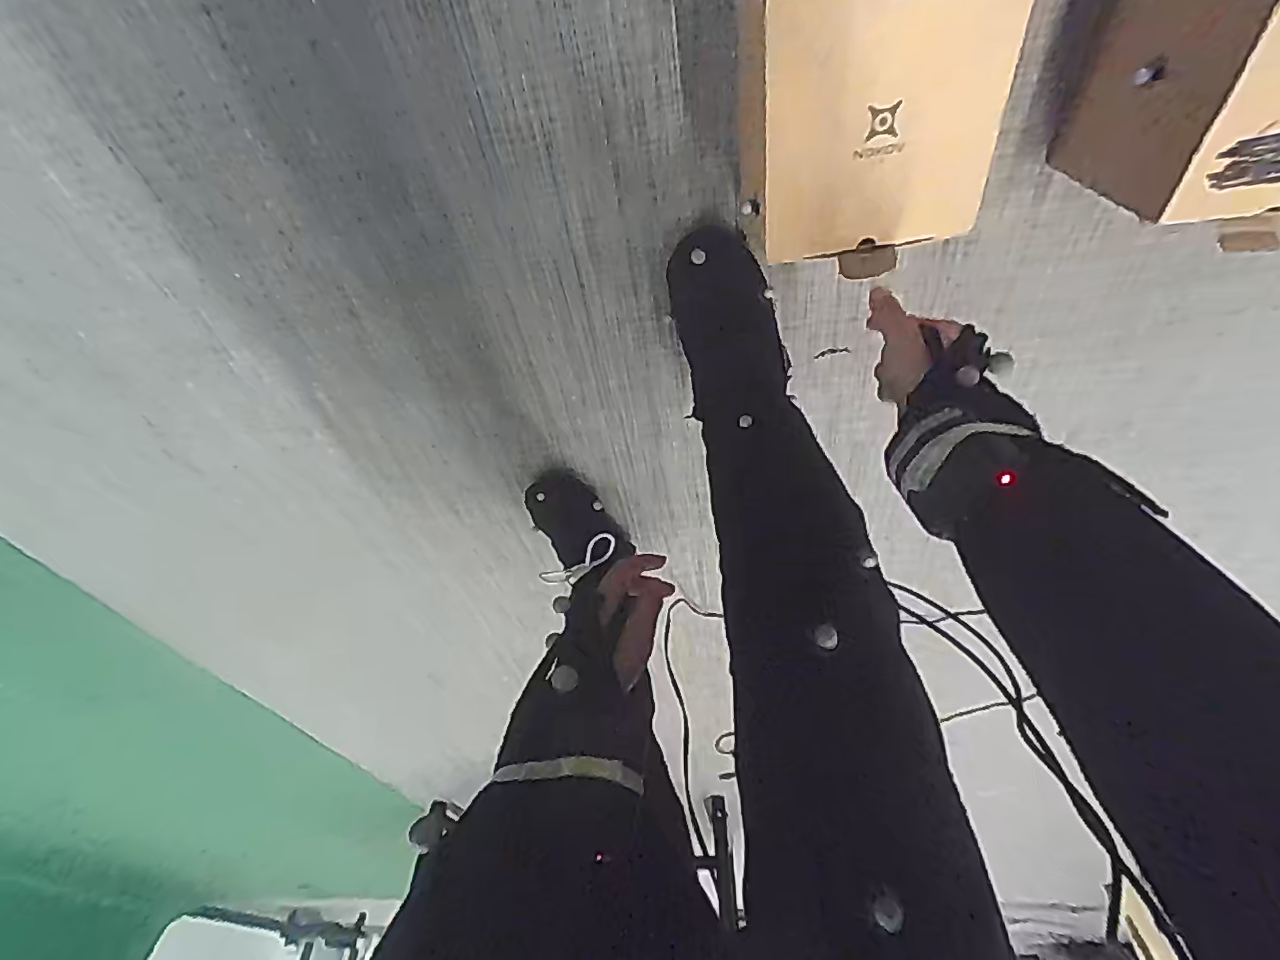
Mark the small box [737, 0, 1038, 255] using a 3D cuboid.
[{"bbox_3d":[0.171,-0.309,0.431,0.168,0.176,0.179,-6,135,7],"label":"small box"}]
